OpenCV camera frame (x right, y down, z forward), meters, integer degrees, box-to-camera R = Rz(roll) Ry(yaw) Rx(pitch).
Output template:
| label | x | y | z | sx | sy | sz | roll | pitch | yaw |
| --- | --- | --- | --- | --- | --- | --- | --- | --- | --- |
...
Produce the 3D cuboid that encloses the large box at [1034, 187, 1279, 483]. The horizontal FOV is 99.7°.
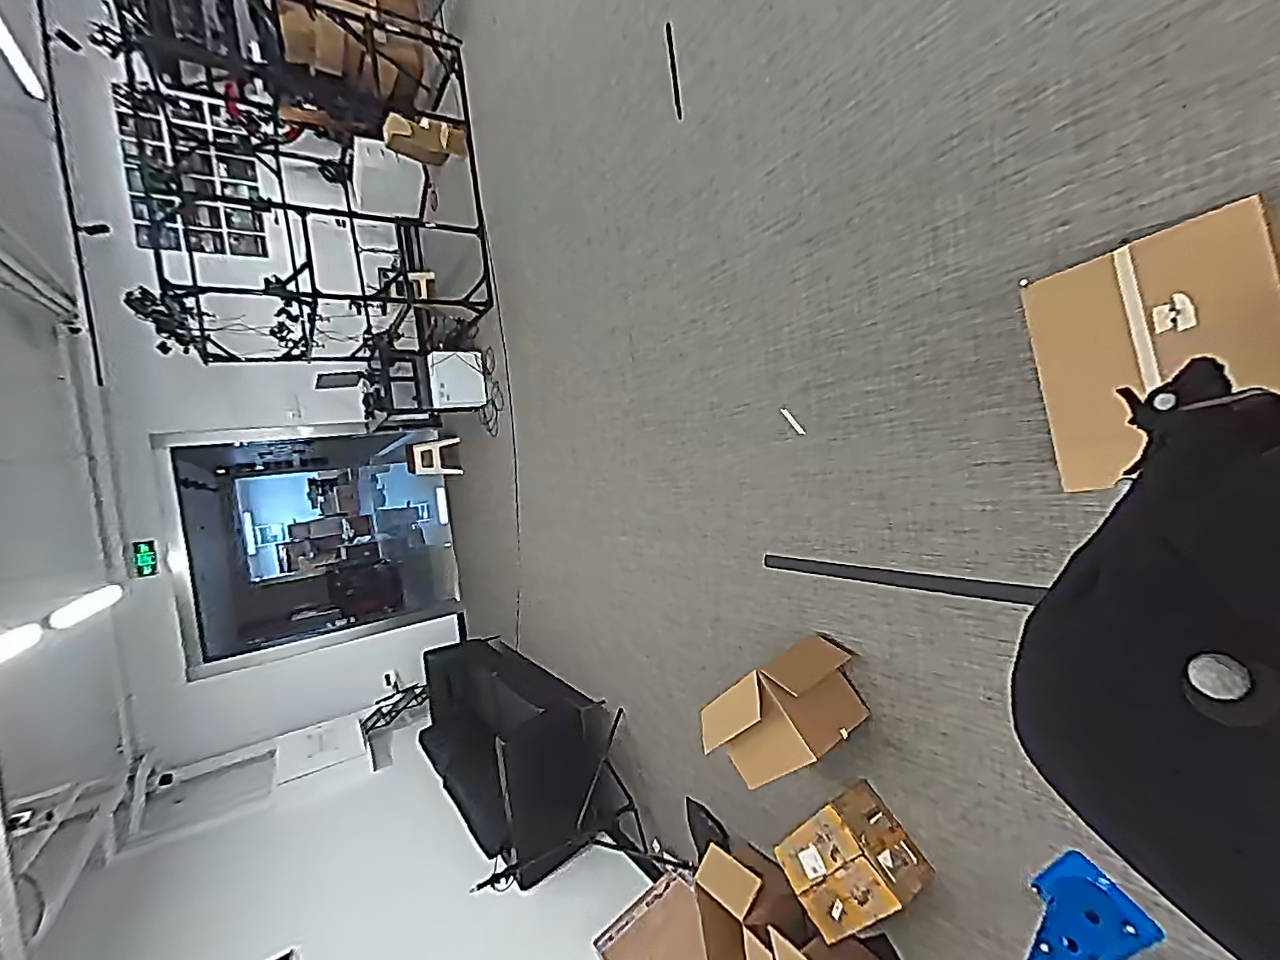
| label | x | y | z | sx | sy | sz | roll | pitch | yaw |
| --- | --- | --- | --- | --- | --- | --- | --- | --- | --- |
| large box | 0.989 | -0.223 | 0.965 | 0.320 | 0.320 | 0.408 | -15 | 83 | 58 |
